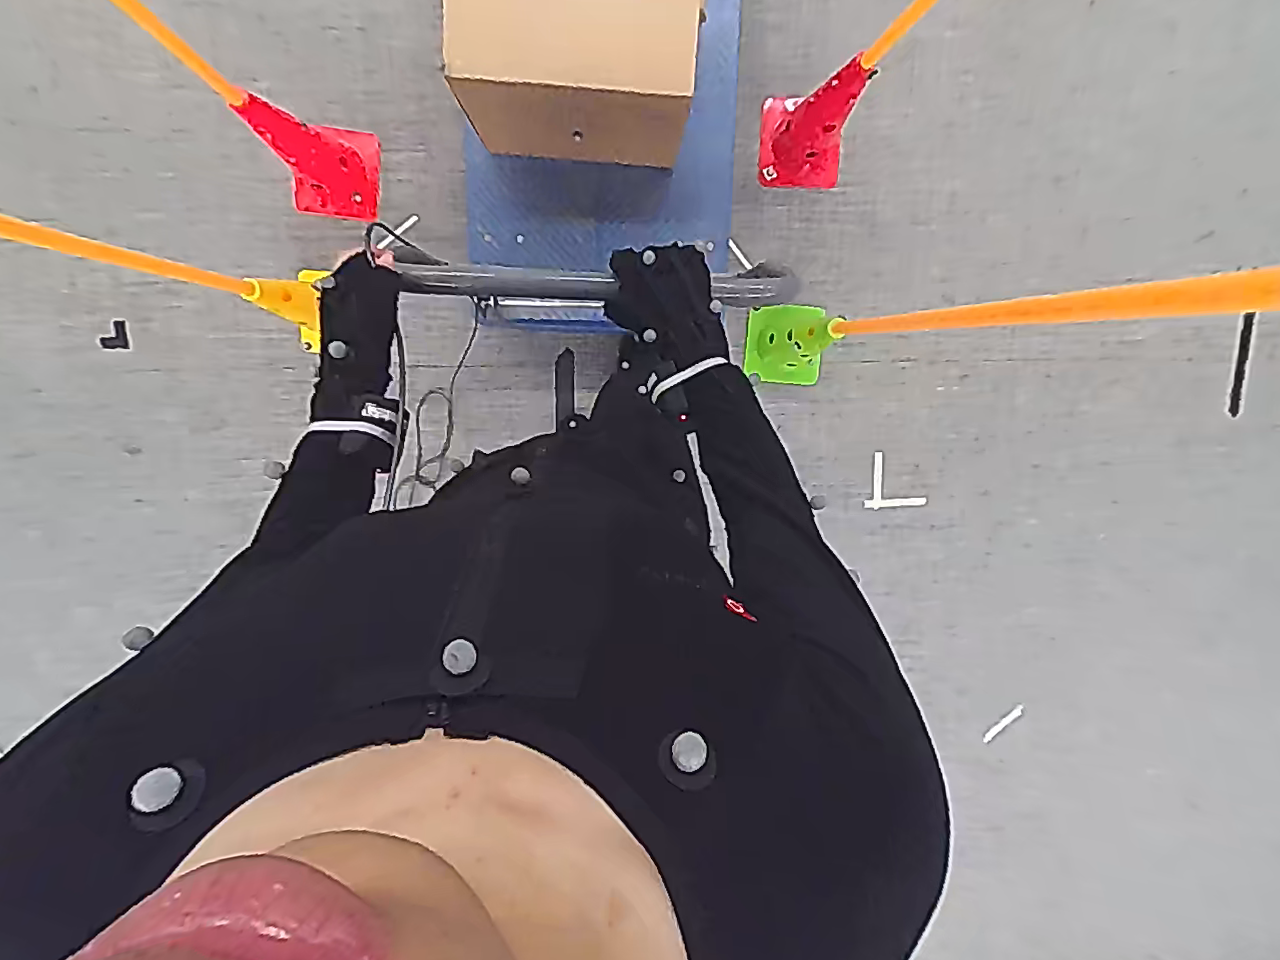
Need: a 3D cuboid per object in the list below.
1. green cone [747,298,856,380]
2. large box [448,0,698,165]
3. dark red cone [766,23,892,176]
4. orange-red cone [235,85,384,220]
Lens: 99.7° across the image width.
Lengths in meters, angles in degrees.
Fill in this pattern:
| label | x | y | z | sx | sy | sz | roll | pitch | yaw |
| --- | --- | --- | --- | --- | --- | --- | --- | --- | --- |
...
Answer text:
| label | x | y | z | sx | sy | sz | roll | pitch | yaw |
| --- | --- | --- | --- | --- | --- | --- | --- | --- | --- |
| green cone | 0.393 | -0.338 | 1.241 | 0.202 | 0.368 | 0.200 | 3 | 100 | -4 |
| large box | -0.106 | -0.809 | 0.999 | 0.408 | 0.320 | 0.320 | 3 | 100 | -2 |
| dark red cone | 0.413 | -0.812 | 1.141 | 0.201 | 0.394 | 0.202 | -1 | 100 | -4 |
| orange-red cone | -0.718 | -0.720 | 1.142 | 0.198 | 0.360 | 0.199 | 7 | 98 | -4 |
